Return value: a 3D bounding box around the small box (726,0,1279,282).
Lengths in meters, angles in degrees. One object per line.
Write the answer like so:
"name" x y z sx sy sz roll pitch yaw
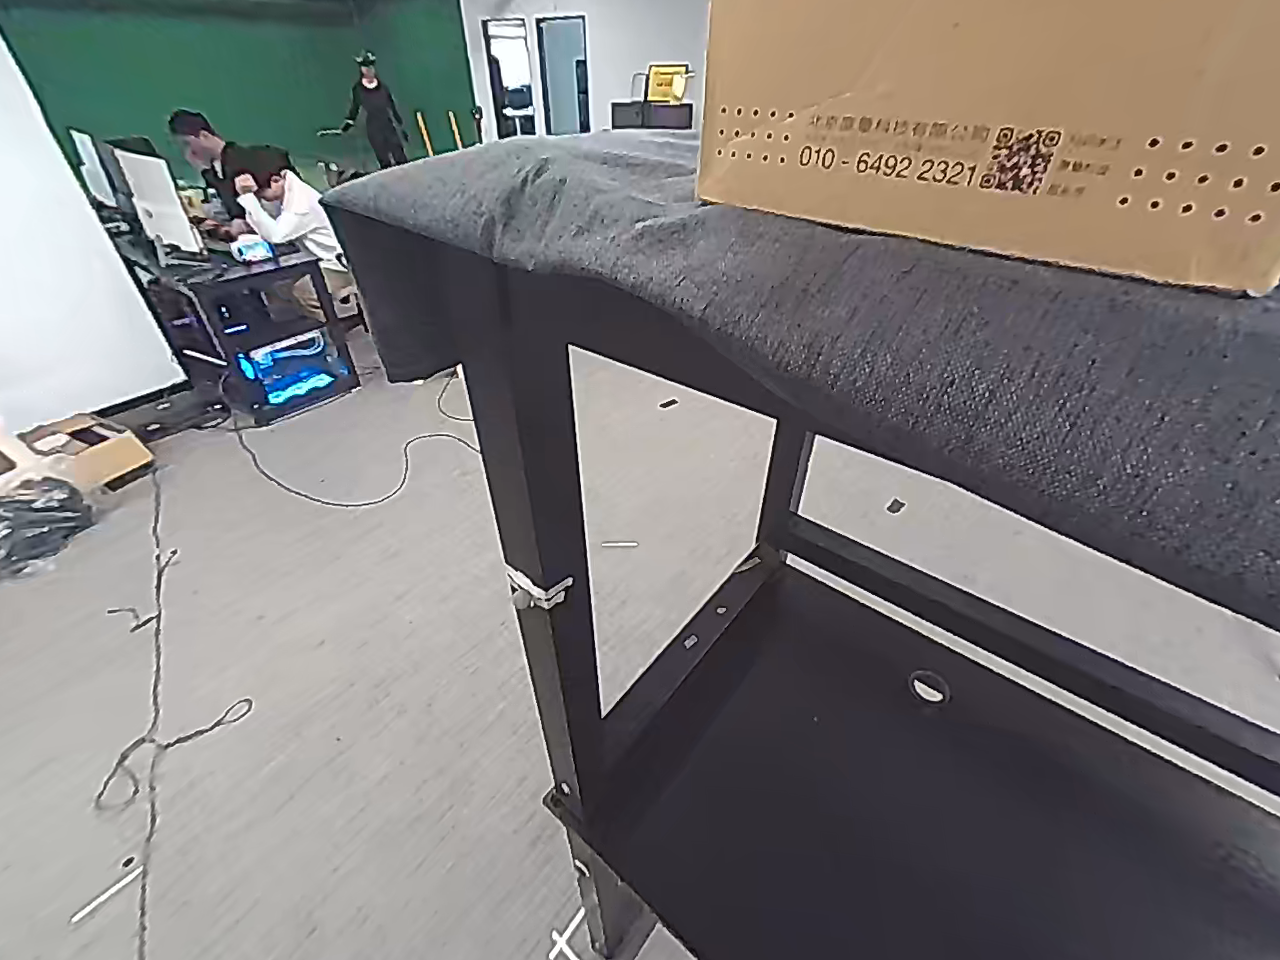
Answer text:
"small box" 0.141 -0.175 0.175 0.168 0.176 0.179 27 42 29
